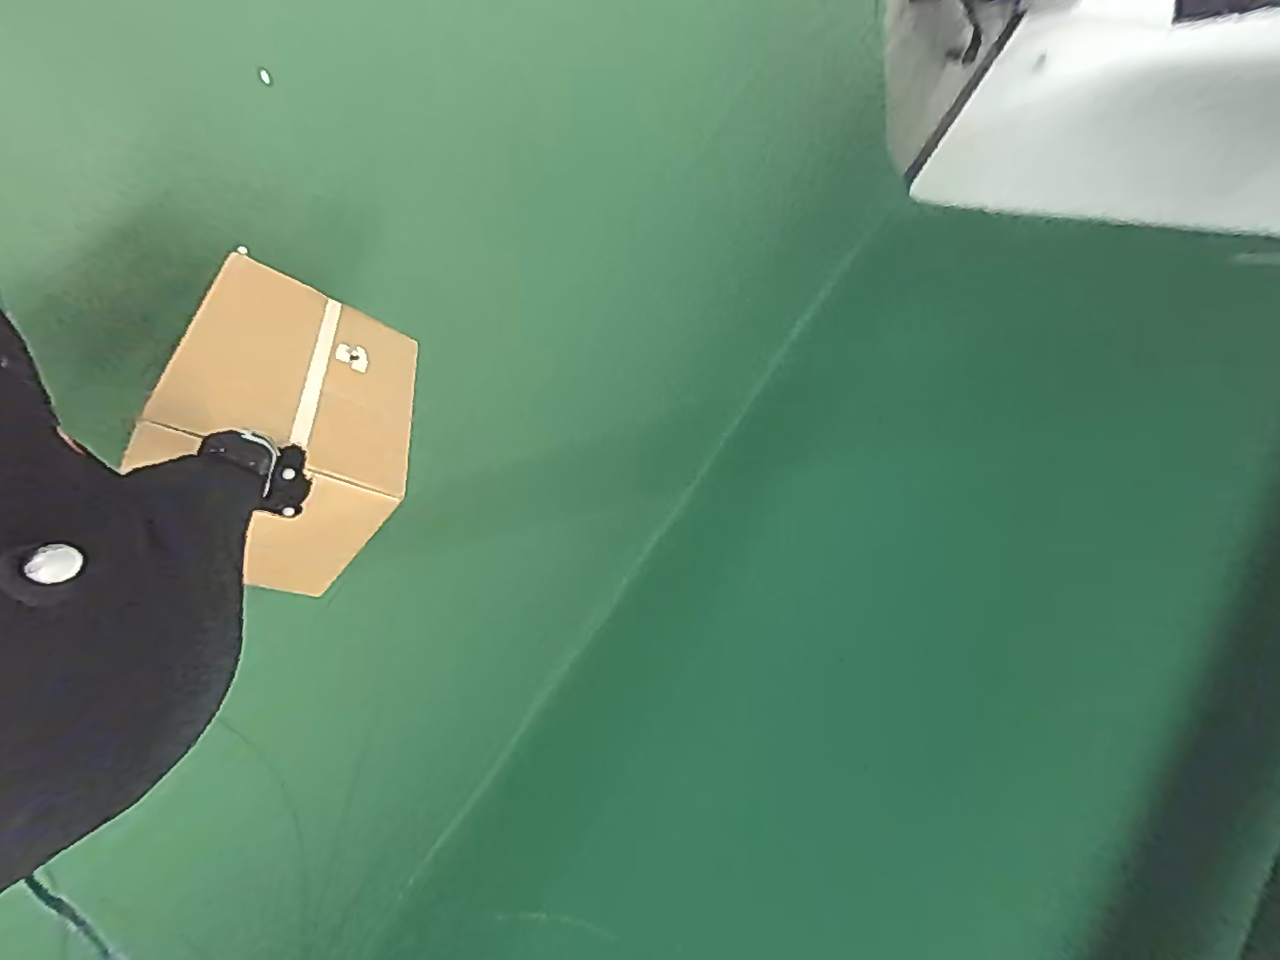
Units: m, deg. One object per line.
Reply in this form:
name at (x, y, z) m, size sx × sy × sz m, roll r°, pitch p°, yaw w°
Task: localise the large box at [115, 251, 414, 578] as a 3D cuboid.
large box at (-0.613, -0.095, 0.932) m, size 0.320 × 0.408 × 0.320 m, roll 24°, pitch 127°, yaw -39°
